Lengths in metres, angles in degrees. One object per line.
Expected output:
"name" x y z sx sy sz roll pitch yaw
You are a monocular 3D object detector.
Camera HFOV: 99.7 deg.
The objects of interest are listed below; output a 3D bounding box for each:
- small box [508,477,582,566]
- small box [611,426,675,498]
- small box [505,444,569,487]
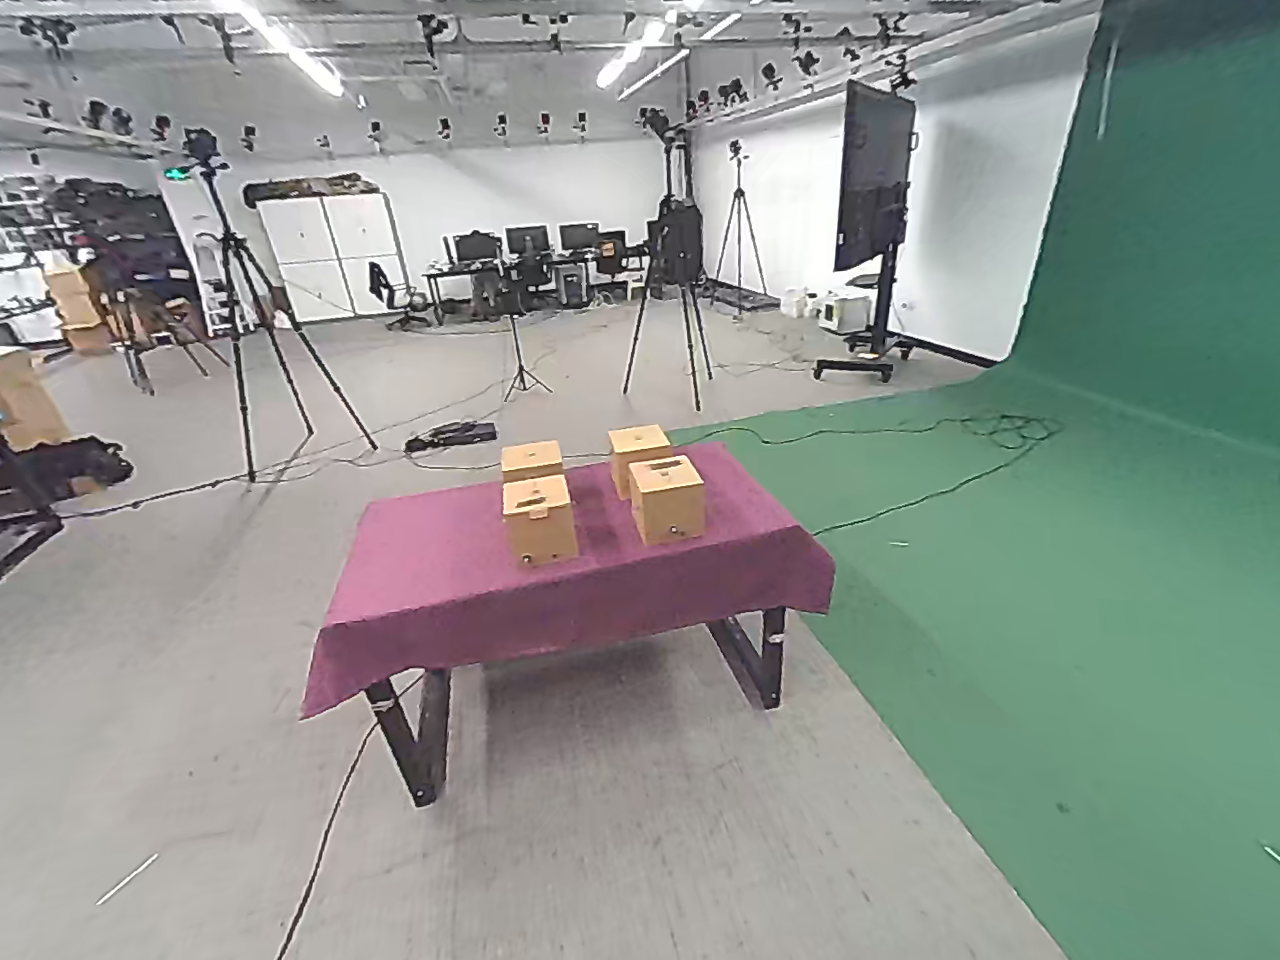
"small box" -0.252 0.114 1.434 0.168 0.176 0.179 -10 27 -9
"small box" 0.011 -0.052 1.706 0.168 0.176 0.179 -10 27 -7
"small box" -0.308 0.007 1.653 0.179 0.176 0.168 -9 28 -8
